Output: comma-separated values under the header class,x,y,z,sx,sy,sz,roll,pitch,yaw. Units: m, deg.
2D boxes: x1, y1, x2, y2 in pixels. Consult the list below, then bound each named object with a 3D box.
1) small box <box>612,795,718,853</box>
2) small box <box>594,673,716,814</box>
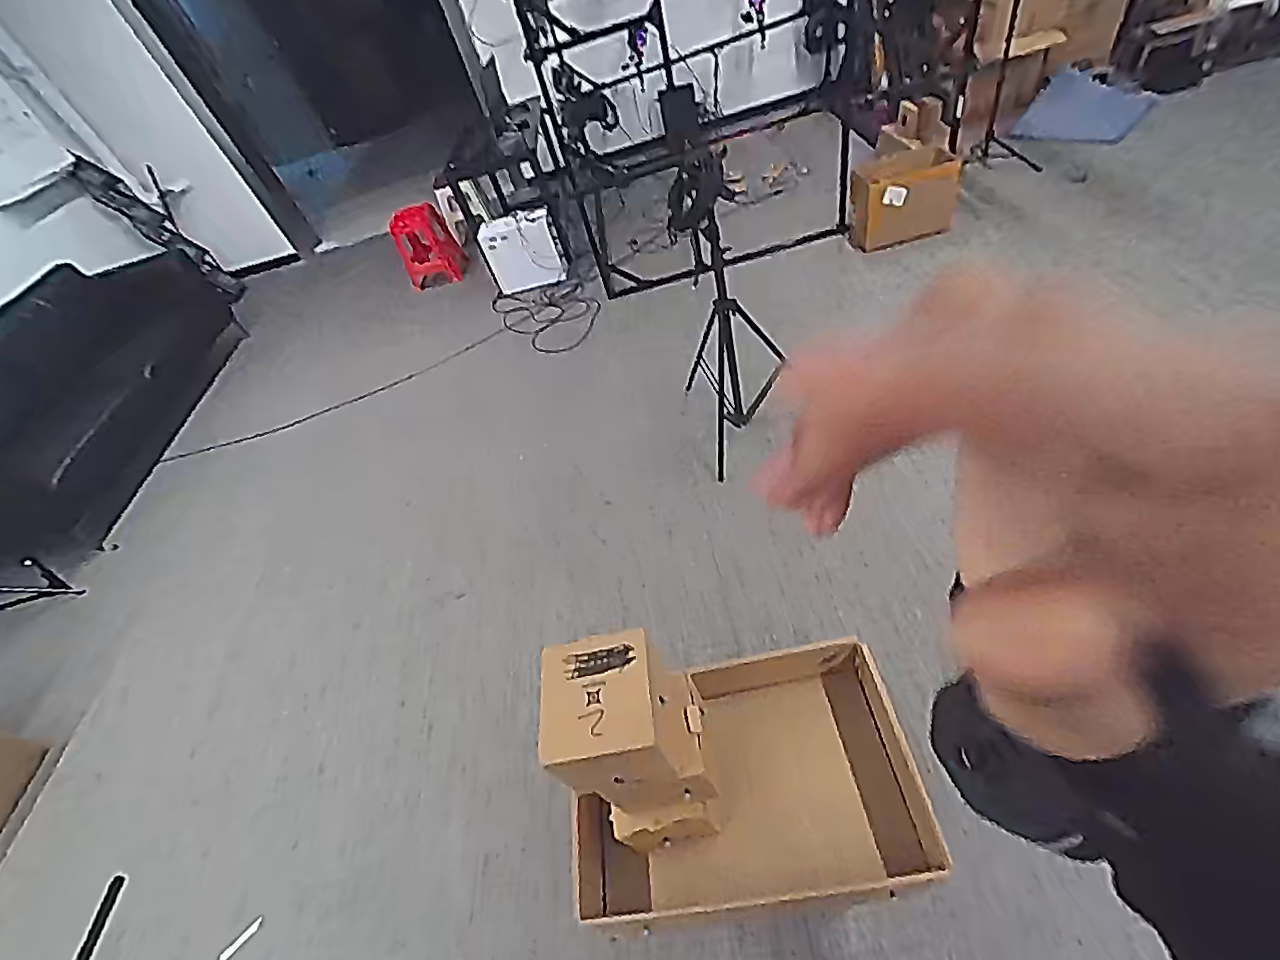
class,x,y,z,sx,sy,sz,roll,pitch,yaw
small box,0.043,0.590,1.045,0.168,0.176,0.179,-18,46,4
small box,0.030,0.460,0.939,0.179,0.176,0.168,-14,46,7
